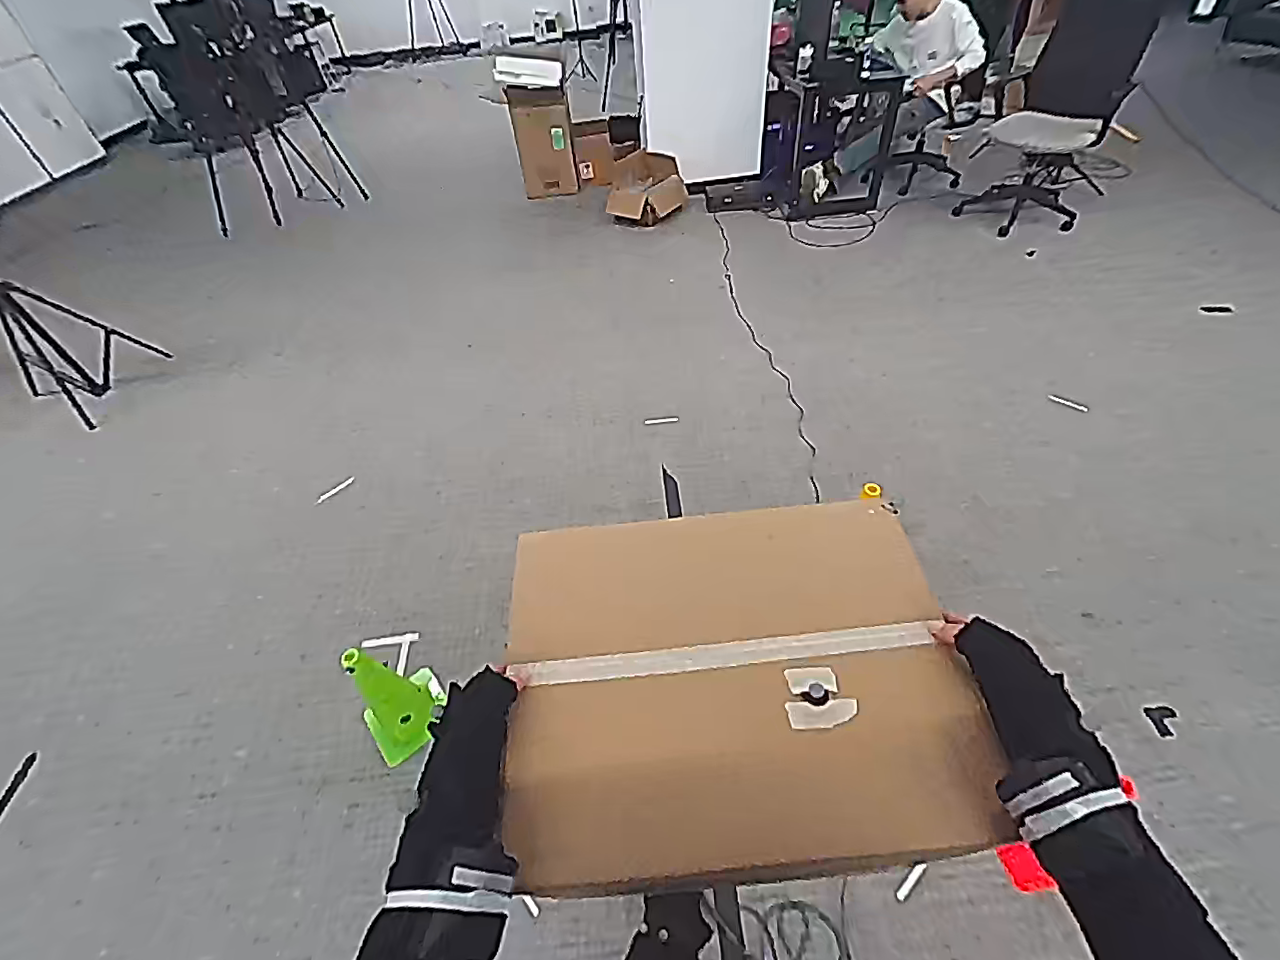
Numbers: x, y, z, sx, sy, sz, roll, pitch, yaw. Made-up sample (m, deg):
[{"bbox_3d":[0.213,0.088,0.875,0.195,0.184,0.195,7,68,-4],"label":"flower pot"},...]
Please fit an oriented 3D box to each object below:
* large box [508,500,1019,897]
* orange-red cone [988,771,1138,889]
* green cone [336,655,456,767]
[{"bbox_3d":[0.090,0.255,0.617,0.408,0.320,0.320,-6,51,0],"label":"large box"},{"bbox_3d":[0.859,0.648,1.066,0.198,0.360,0.199,-8,44,-2],"label":"orange-red cone"},{"bbox_3d":[-0.647,0.530,1.358,0.202,0.368,0.200,-36,52,-23],"label":"green cone"}]
